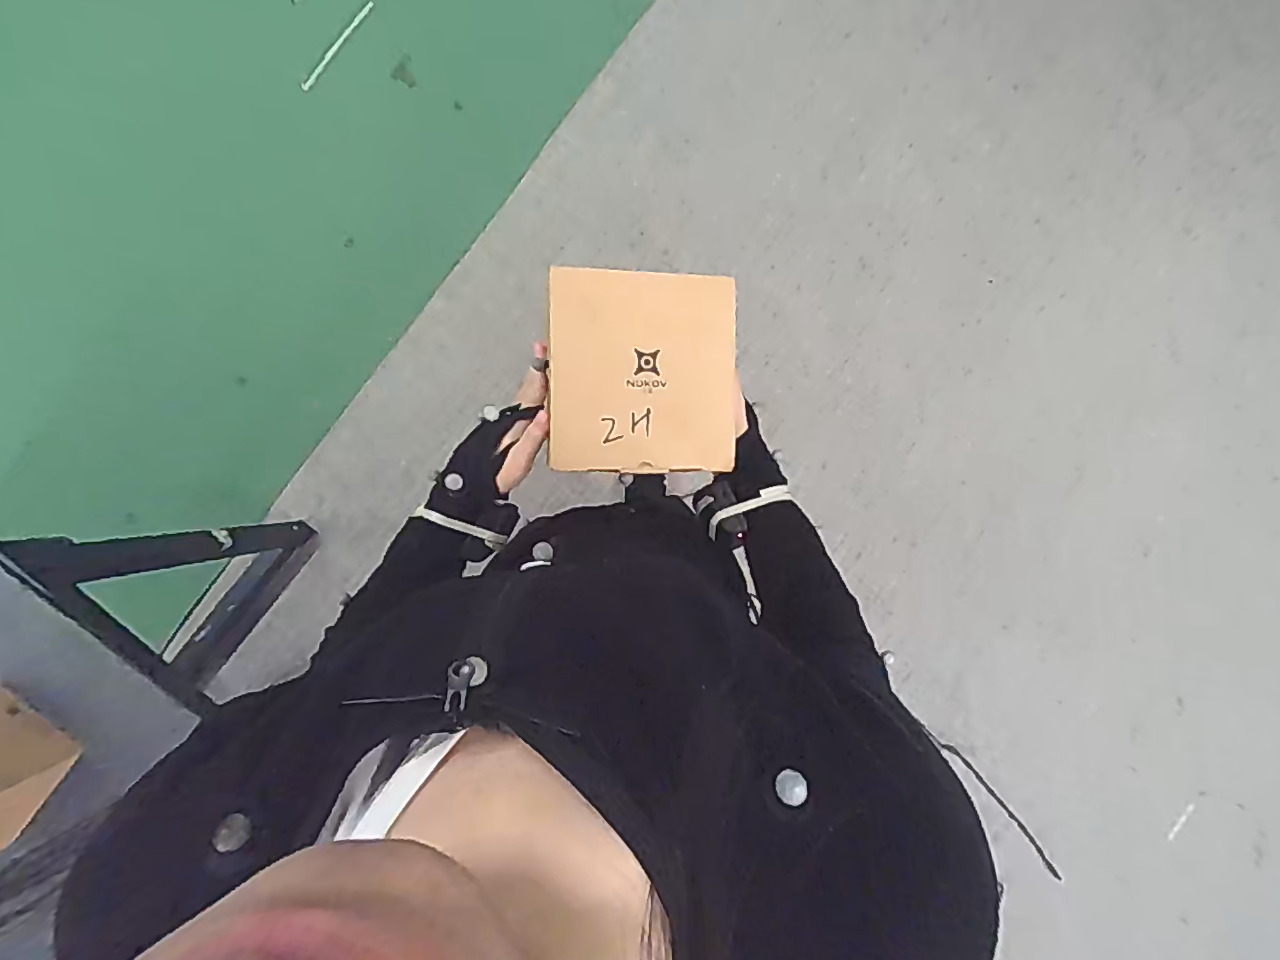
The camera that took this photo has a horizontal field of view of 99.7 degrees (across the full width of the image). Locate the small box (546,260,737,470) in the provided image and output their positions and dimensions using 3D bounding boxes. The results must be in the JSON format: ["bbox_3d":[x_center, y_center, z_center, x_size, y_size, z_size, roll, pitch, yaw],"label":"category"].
[{"bbox_3d":[-0.010,-0.099,0.546,0.168,0.176,0.179,0,92,-11],"label":"small box"}]
